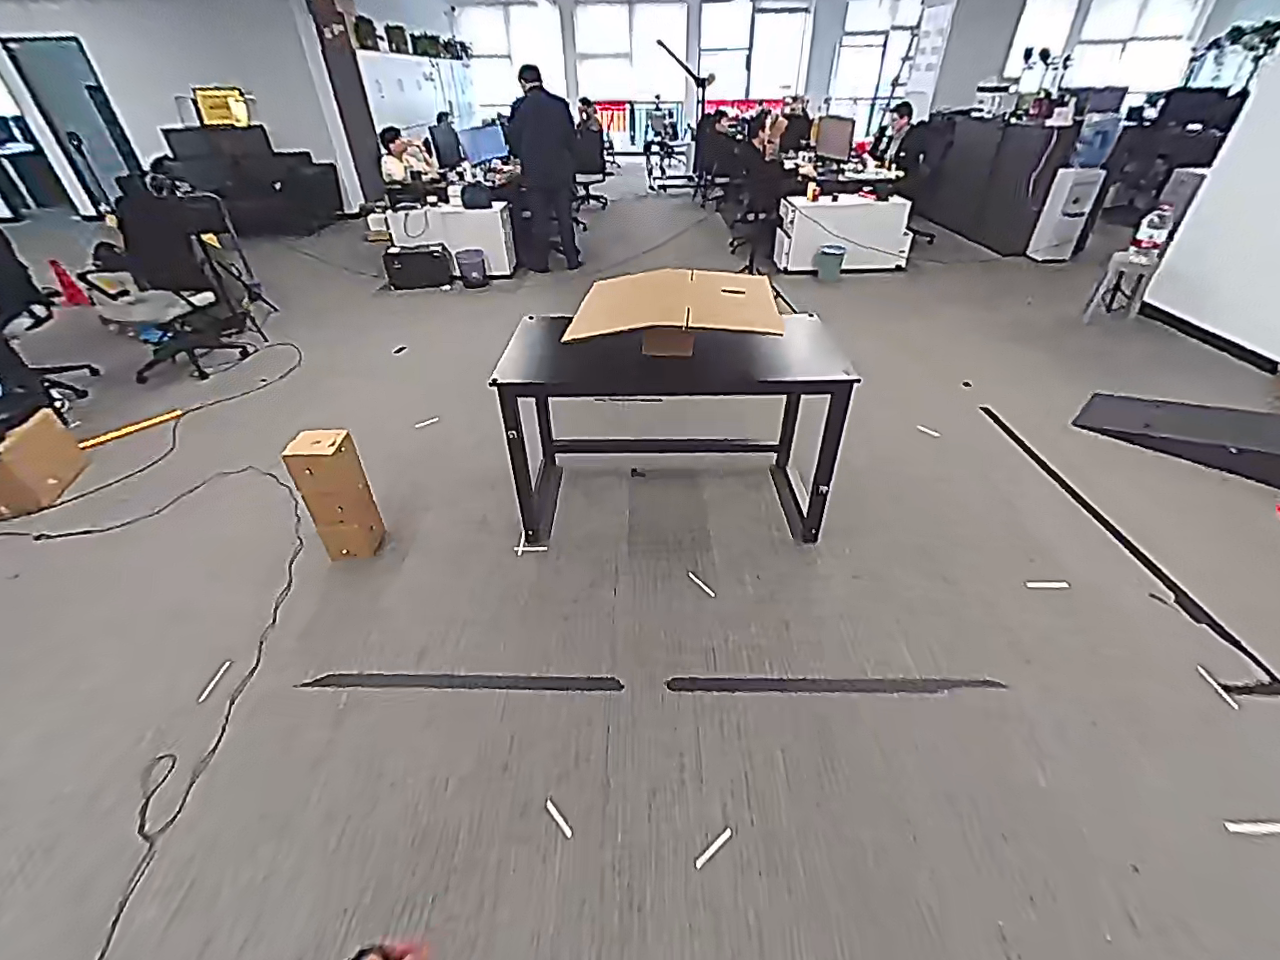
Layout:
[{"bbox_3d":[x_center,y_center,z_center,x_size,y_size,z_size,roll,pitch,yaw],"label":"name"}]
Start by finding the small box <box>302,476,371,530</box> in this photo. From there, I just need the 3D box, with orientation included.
[{"bbox_3d":[-1.160,0.083,2.085,0.168,0.176,0.179,-4,35,-6],"label":"small box"}]

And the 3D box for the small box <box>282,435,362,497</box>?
[{"bbox_3d":[-1.159,-0.048,1.986,0.179,0.176,0.168,-3,36,-2],"label":"small box"}]

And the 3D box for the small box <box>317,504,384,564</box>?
[{"bbox_3d":[-1.154,0.217,2.176,0.168,0.176,0.179,-3,37,-2],"label":"small box"}]
